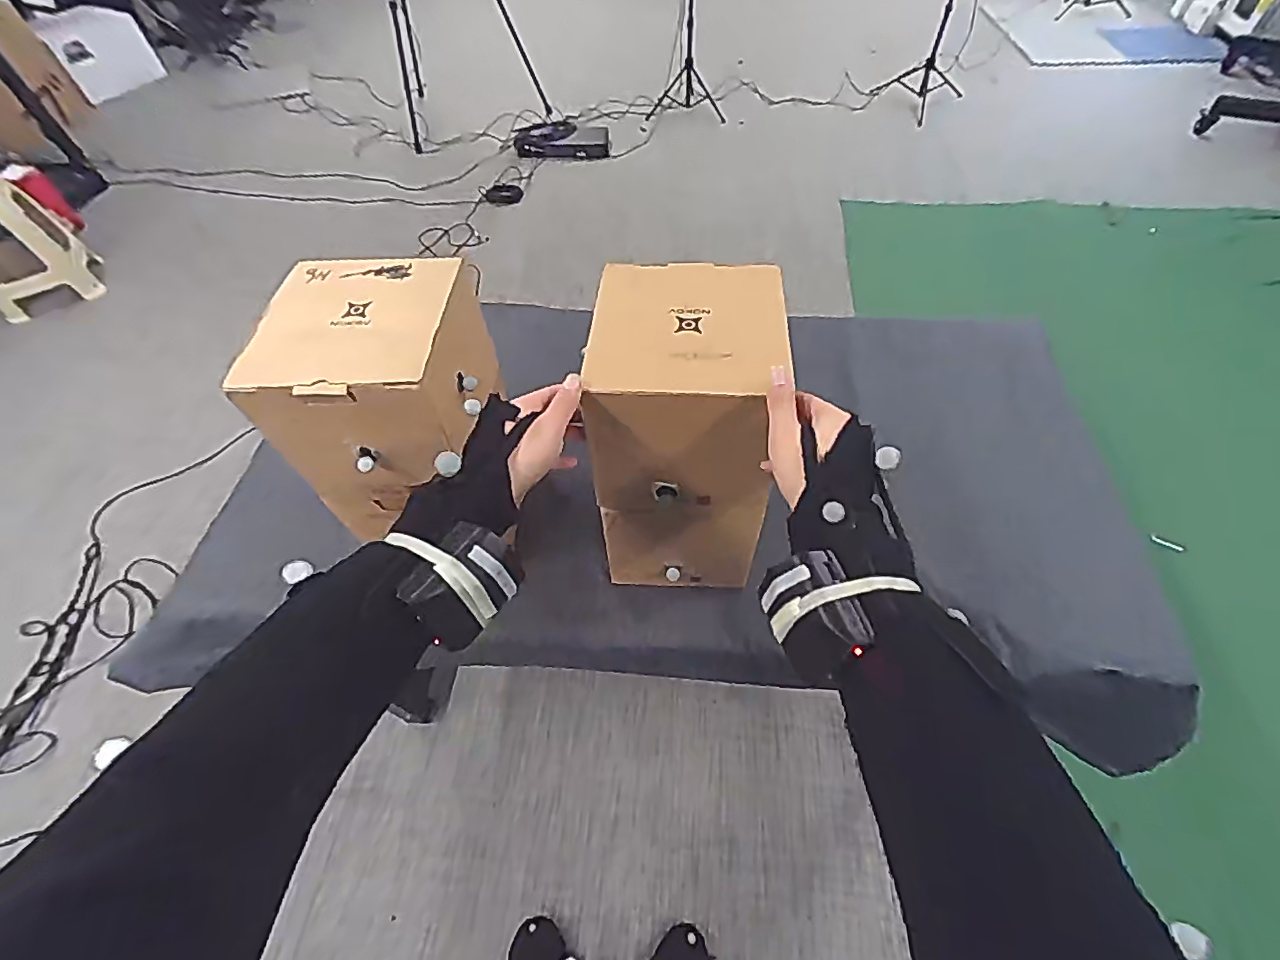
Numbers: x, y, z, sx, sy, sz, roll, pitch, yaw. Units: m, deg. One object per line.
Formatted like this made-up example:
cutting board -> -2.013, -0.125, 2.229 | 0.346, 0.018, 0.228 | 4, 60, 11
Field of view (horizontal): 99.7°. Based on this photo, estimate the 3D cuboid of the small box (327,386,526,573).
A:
small box -> -0.247, -0.001, 0.681 | 0.168, 0.176, 0.179 | 0, 54, 2

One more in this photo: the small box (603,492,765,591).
small box -> 0.051, 0.015, 0.653 | 0.168, 0.176, 0.179 | 1, 54, 4

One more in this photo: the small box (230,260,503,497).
small box -> -0.247, -0.095, 0.546 | 0.168, 0.176, 0.179 | -1, 55, 2

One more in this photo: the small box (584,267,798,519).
small box -> 0.047, -0.083, 0.523 | 0.168, 0.176, 0.179 | 2, 53, 5
